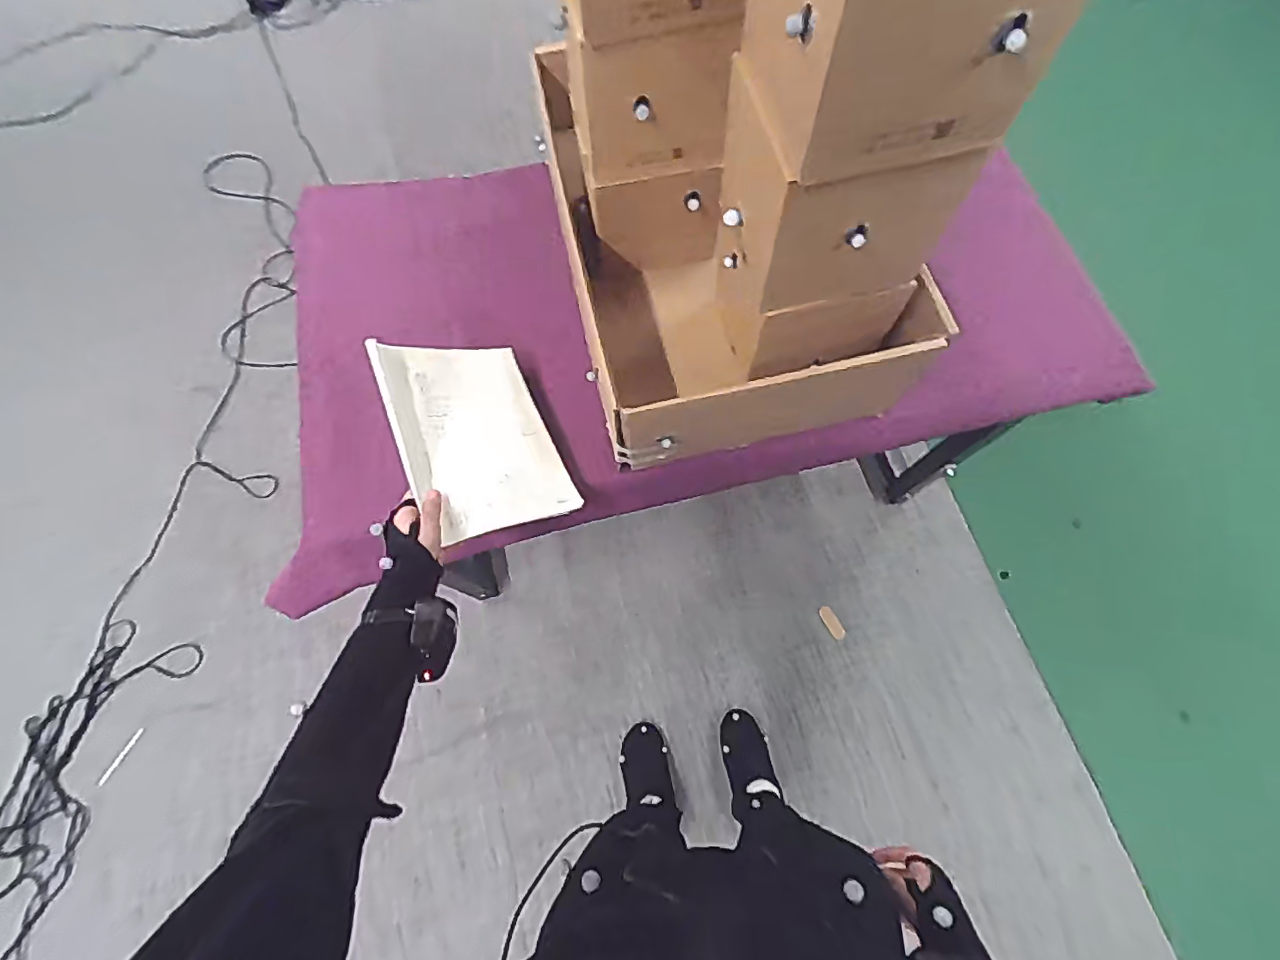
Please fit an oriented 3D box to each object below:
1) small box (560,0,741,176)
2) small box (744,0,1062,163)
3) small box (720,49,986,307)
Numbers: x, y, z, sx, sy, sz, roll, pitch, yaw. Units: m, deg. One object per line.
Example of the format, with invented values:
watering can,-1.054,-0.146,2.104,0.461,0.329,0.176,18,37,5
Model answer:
small box,0.006,-0.477,0.615,0.168,0.176,0.179,-11,71,-2
small box,0.181,-0.358,0.385,0.168,0.176,0.179,-11,68,-1
small box,0.187,-0.300,0.538,0.179,0.176,0.168,-12,69,0
